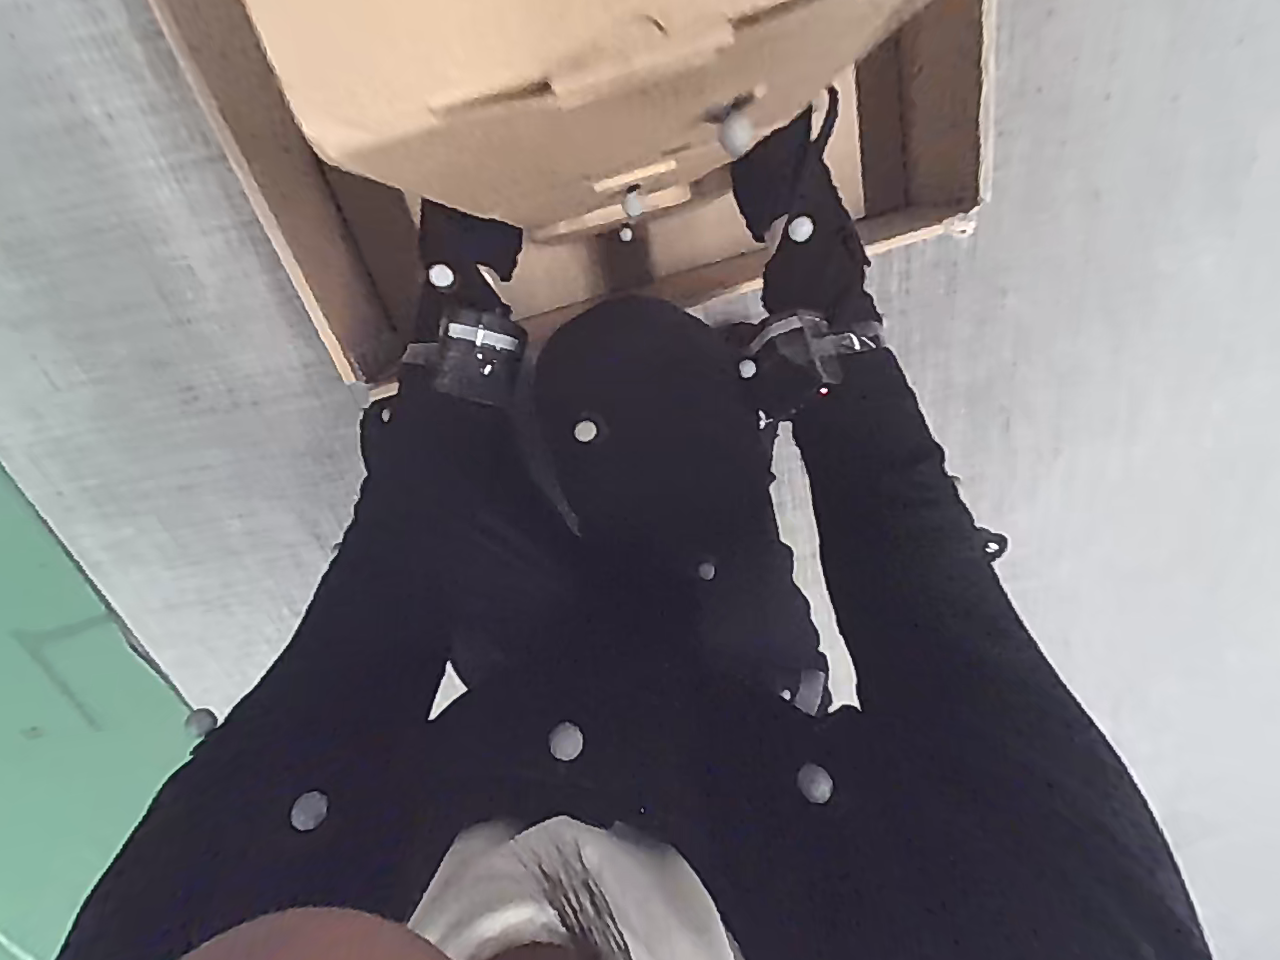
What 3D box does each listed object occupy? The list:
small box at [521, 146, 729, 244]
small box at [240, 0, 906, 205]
[{"bbox_3d":[-0.028,-0.325,0.501,0.179,0.176,0.168,-12,111,4],"label":"small box"},{"bbox_3d":[-0.030,-0.206,0.180,0.168,0.176,0.179,-15,110,4],"label":"small box"}]
